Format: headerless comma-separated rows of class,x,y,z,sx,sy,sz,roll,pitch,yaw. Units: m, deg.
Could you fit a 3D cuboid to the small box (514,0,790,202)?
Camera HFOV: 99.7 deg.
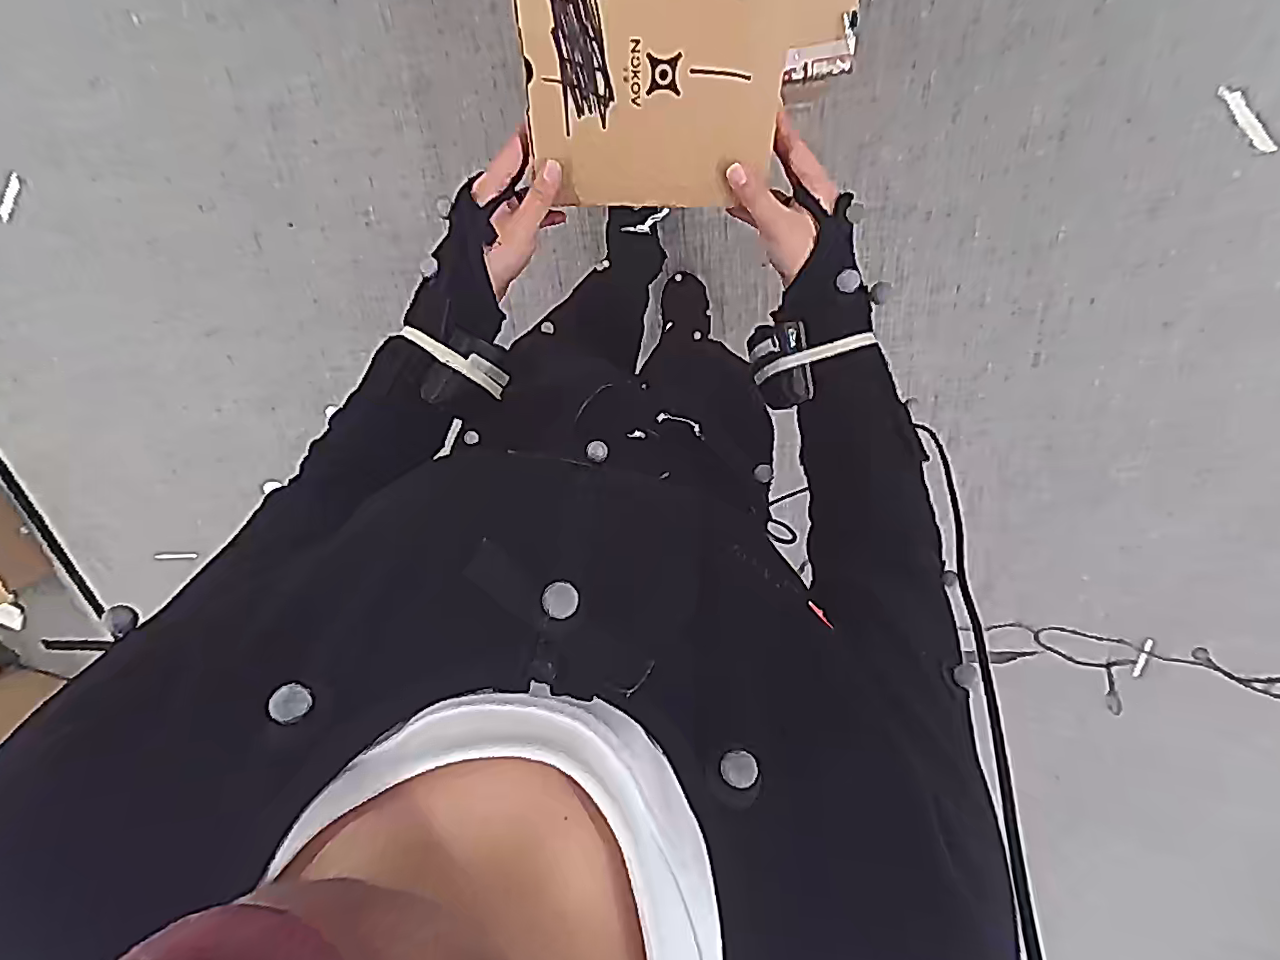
small box,0.012,-0.329,0.420,0.179,0.176,0.168,2,132,2
